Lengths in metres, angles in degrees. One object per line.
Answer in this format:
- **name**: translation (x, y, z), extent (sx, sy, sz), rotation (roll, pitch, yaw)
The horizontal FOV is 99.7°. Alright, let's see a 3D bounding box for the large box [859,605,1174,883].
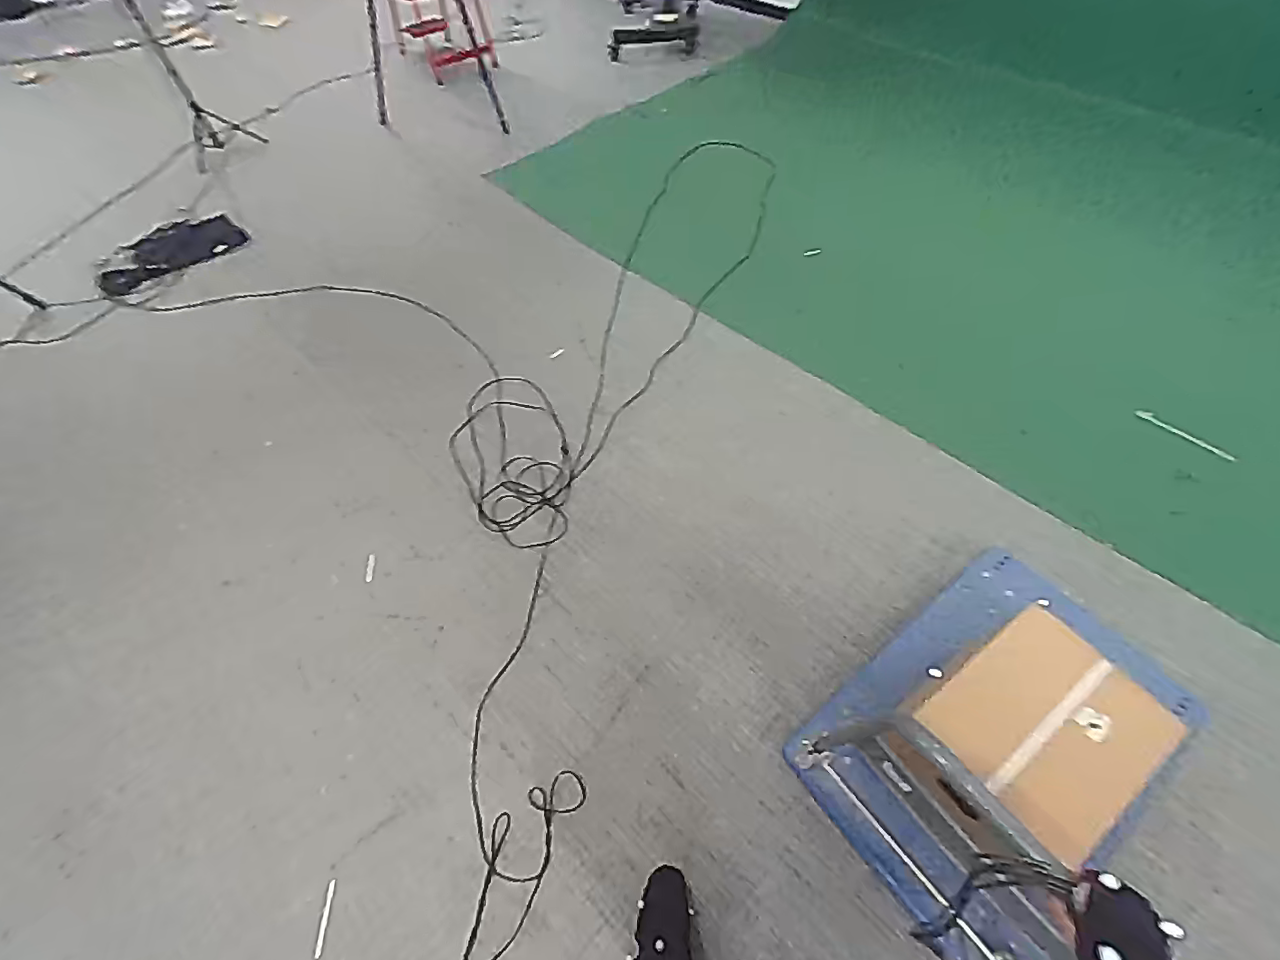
- **large box**: translation (0.746, 0.544, 1.128), extent (0.408, 0.320, 0.320), rotation (-31, 61, -19)
